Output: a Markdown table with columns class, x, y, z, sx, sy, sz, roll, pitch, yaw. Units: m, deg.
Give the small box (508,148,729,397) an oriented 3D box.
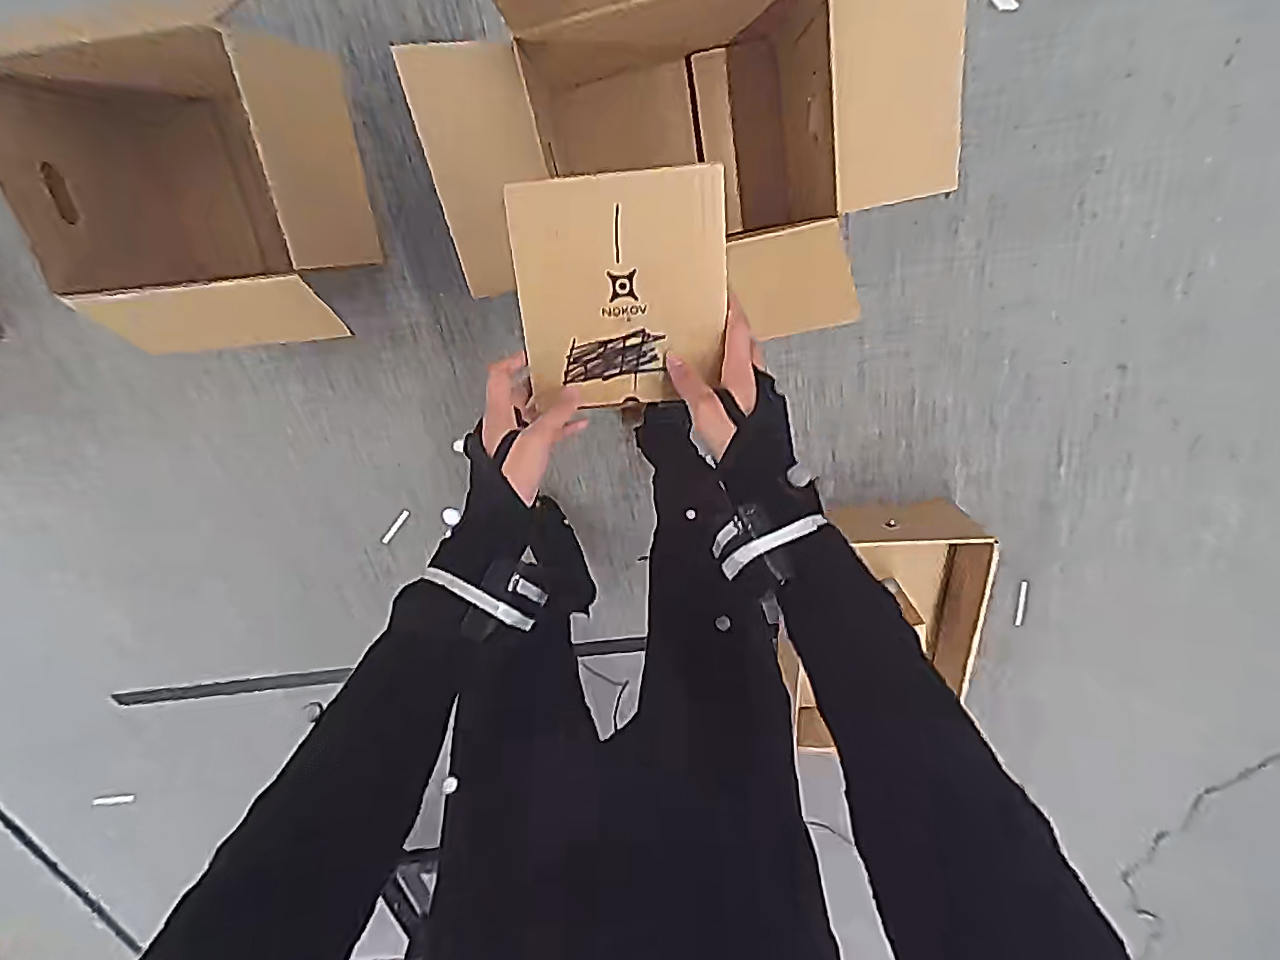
| class | x | y | z | sx | sy | sz | roll | pitch | yaw |
| --- | --- | --- | --- | --- | --- | --- | --- | --- | --- |
| small box | -0.007 | -0.184 | 0.499 | 0.168 | 0.176 | 0.179 | -4 | 110 | 4 |
